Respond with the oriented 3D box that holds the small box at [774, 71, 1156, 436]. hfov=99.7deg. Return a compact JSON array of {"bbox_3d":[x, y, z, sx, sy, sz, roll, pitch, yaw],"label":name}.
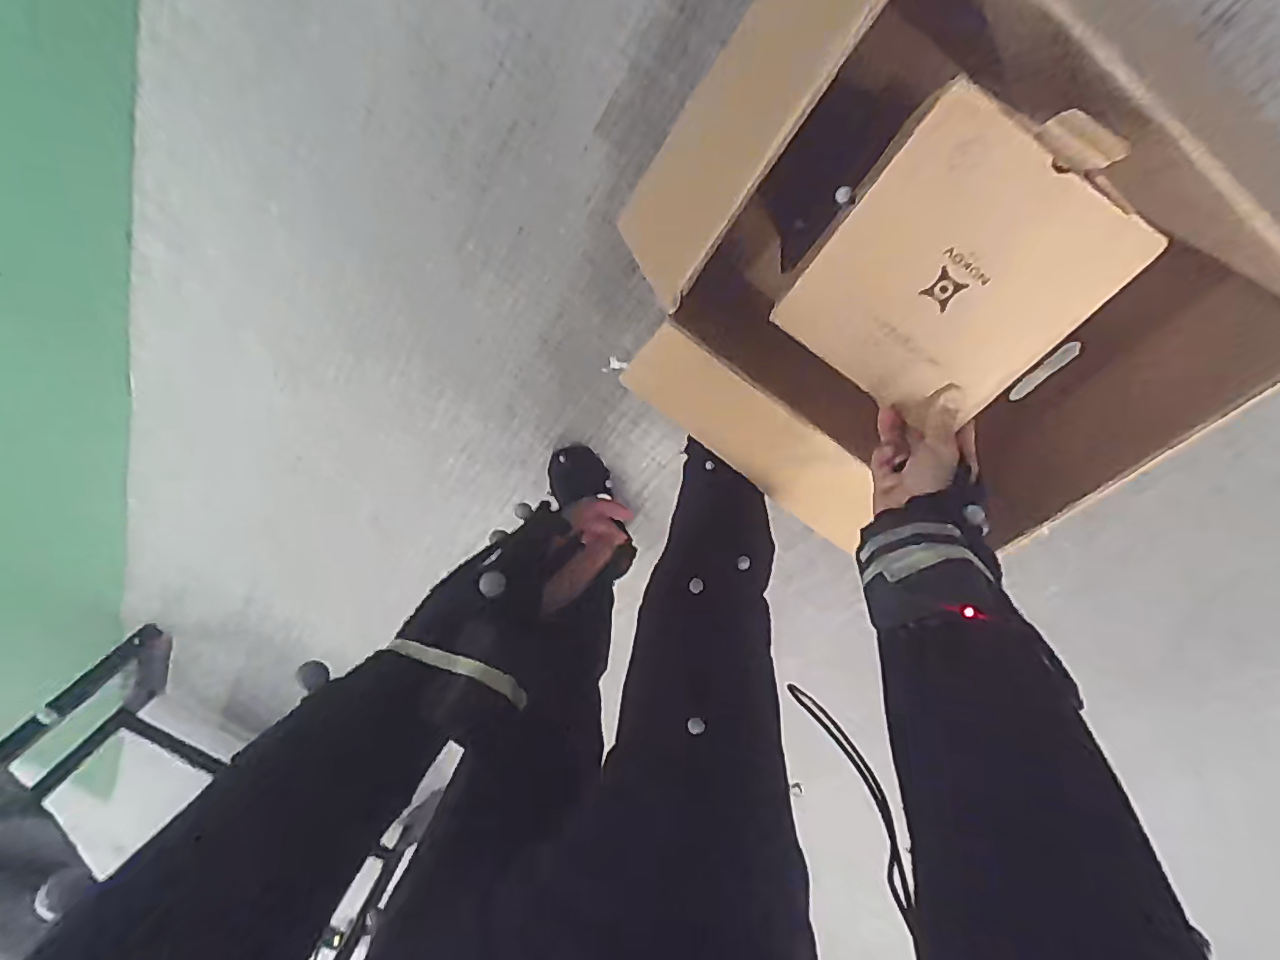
[{"bbox_3d":[0.228,-0.173,0.436,0.168,0.176,0.179,37,121,-3],"label":"small box"}]
